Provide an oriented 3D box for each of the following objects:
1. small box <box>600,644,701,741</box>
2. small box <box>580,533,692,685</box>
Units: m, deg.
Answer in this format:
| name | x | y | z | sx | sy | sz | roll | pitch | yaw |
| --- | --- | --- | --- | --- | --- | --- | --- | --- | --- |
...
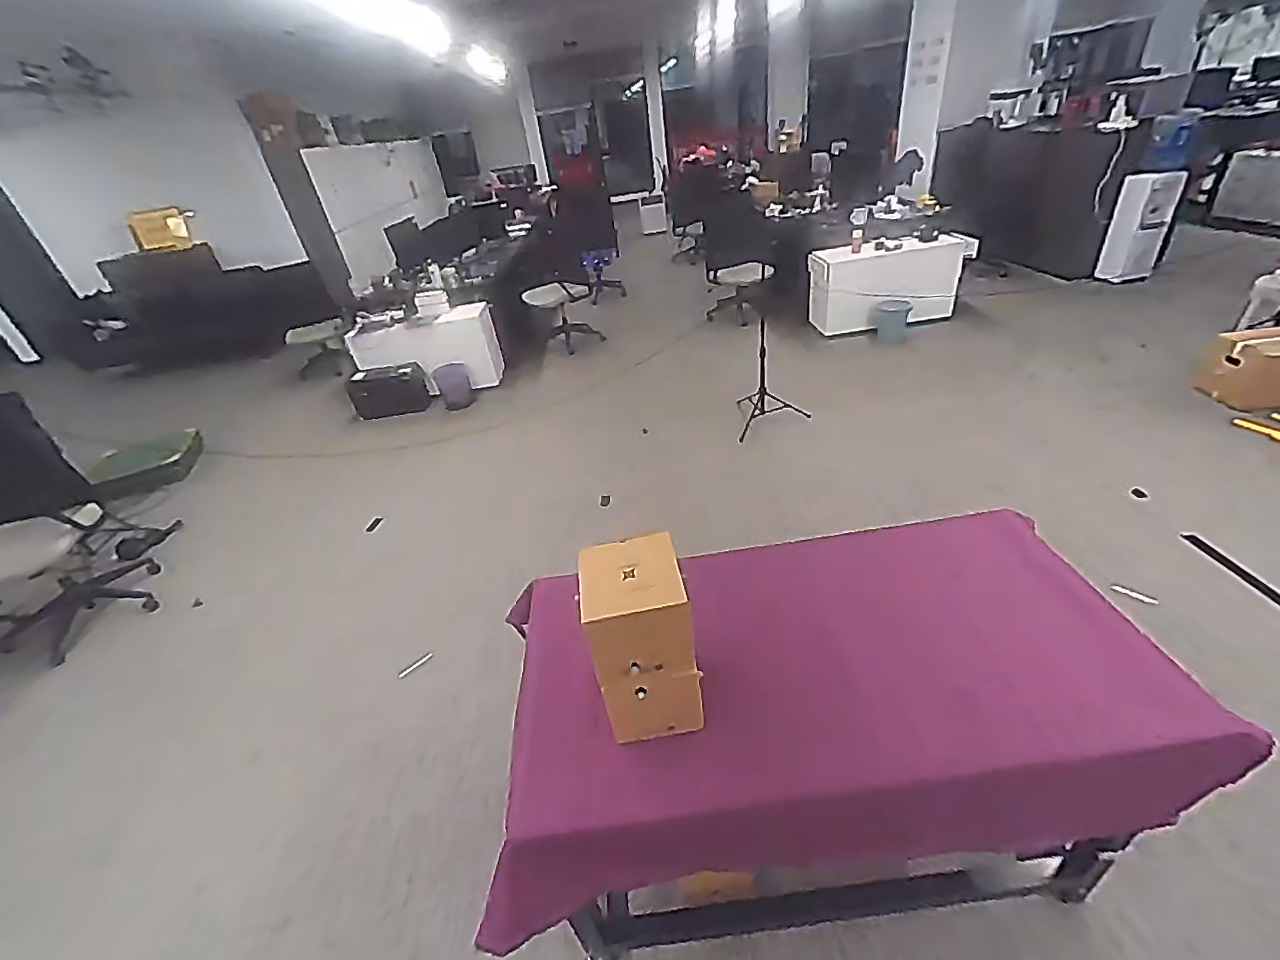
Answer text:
| name | x | y | z | sx | sy | sz | roll | pitch | yaw |
| --- | --- | --- | --- | --- | --- | --- | --- | --- | --- |
| small box | 0.017 | 0.353 | 1.015 | 0.168 | 0.176 | 0.179 | -9 | 33 | 0 |
| small box | -0.009 | 0.218 | 0.927 | 0.168 | 0.176 | 0.179 | -10 | 34 | -2 |
